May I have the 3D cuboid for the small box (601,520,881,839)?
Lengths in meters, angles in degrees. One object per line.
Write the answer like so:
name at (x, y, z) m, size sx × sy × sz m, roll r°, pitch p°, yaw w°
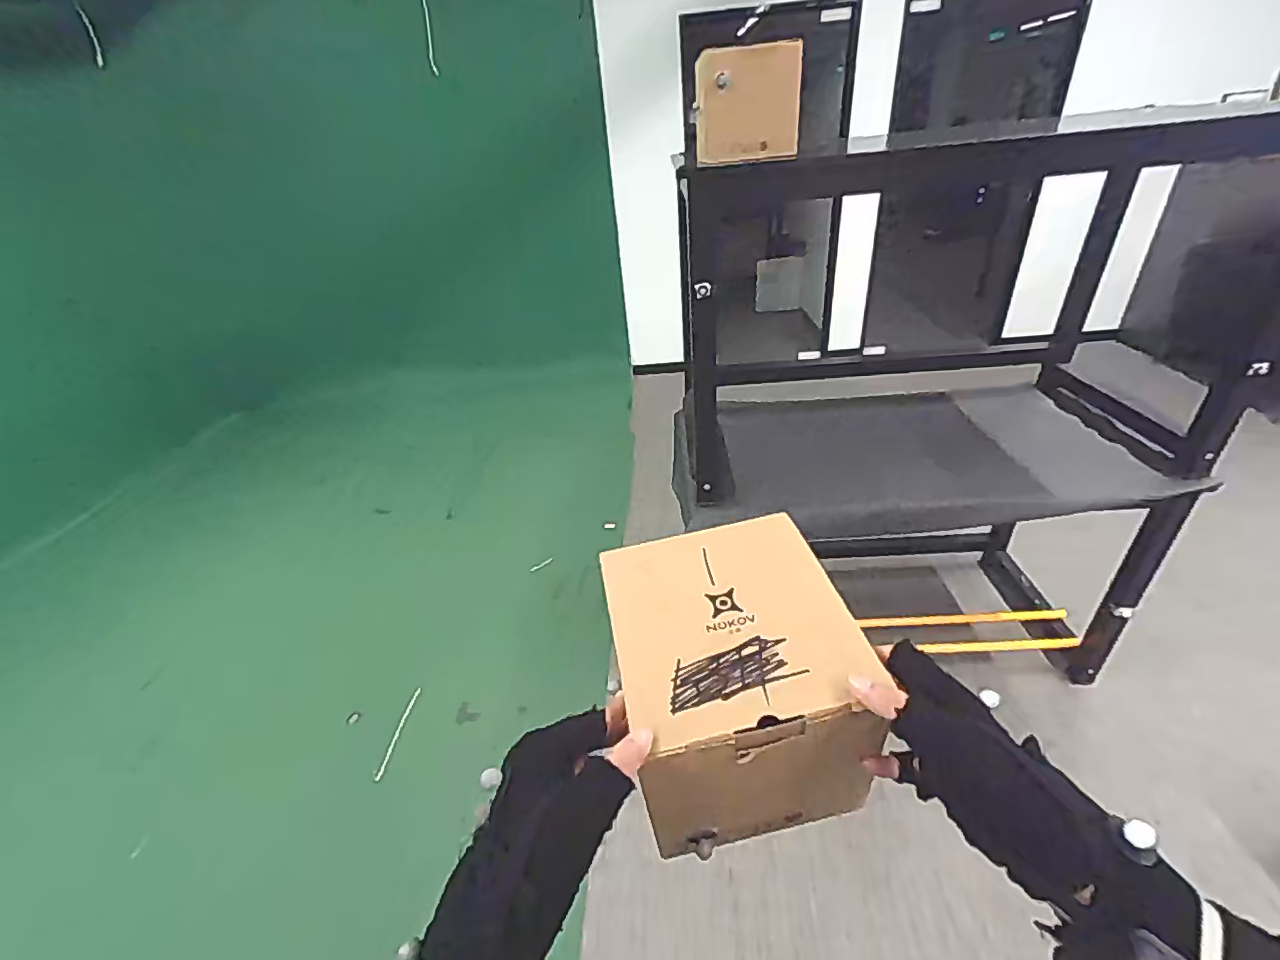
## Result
small box at (0.070, 0.164, 0.445) m, size 0.168 × 0.176 × 0.179 m, roll -12°, pitch 37°, yaw -4°
